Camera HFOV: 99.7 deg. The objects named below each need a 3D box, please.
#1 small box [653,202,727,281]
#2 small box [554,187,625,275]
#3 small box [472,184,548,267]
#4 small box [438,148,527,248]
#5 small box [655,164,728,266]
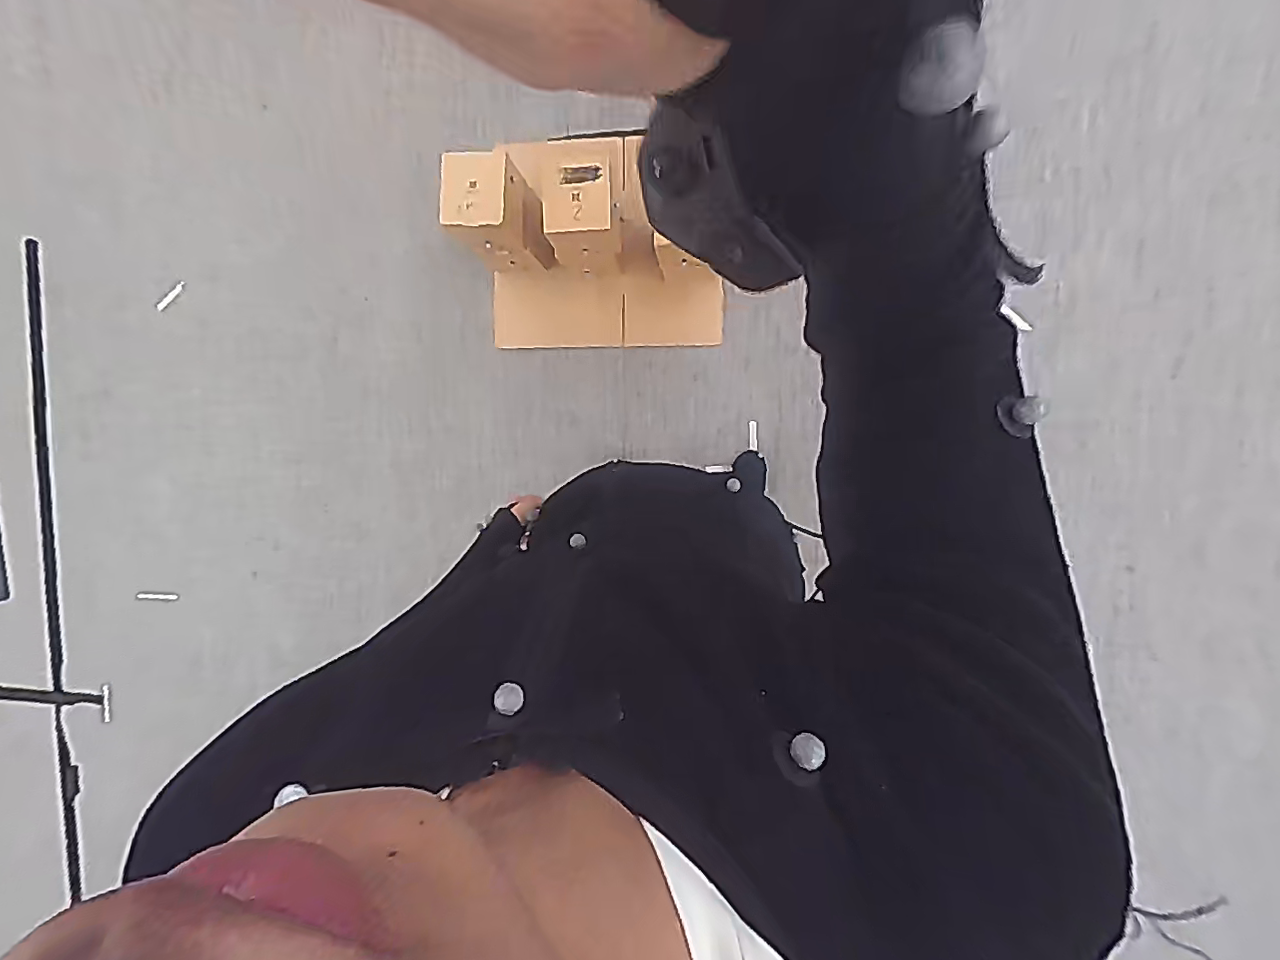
[{"bbox_3d":[0.140,-0.663,1.484,0.179,0.176,0.168,-8,93,7],"label":"small box"},{"bbox_3d":[-0.137,-0.693,1.515,0.168,0.176,0.179,4,94,6],"label":"small box"},{"bbox_3d":[-0.365,-0.716,1.540,0.168,0.176,0.179,3,95,7],"label":"small box"},{"bbox_3d":[-0.395,-0.714,1.378,0.168,0.176,0.179,4,94,7],"label":"small box"},{"bbox_3d":[0.125,-0.641,1.323,0.168,0.176,0.179,2,94,6],"label":"small box"}]
